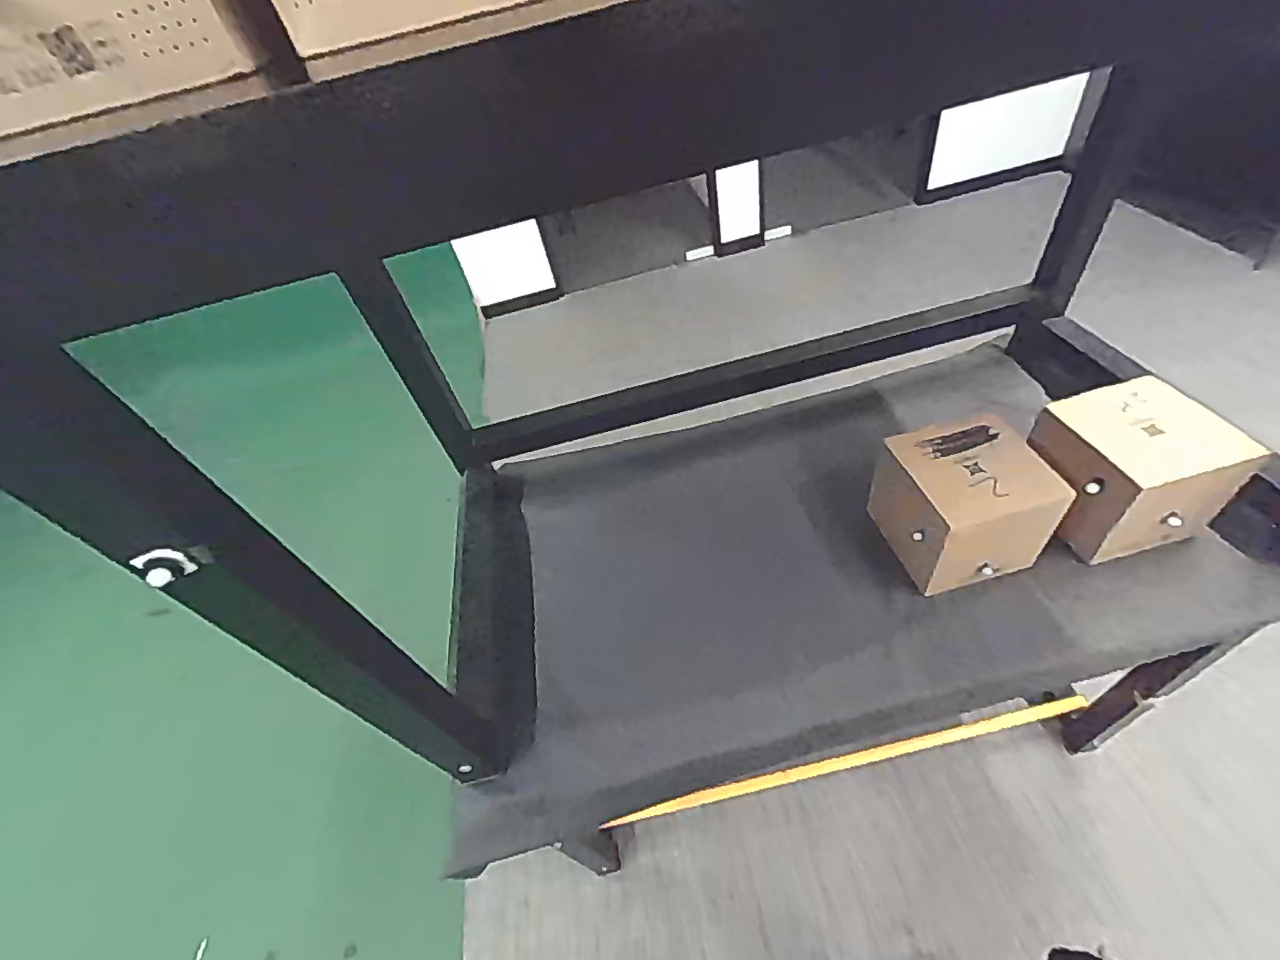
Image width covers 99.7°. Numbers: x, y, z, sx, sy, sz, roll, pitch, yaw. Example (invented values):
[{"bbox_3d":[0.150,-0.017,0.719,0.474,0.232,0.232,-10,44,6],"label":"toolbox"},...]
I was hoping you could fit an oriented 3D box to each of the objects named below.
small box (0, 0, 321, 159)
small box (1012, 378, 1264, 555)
[{"bbox_3d":[-0.273,-0.261,0.236,0.168,0.176,0.179,-15,47,-1],"label":"small box"},{"bbox_3d":[0.687,-0.012,0.776,0.168,0.176,0.179,-16,45,-1],"label":"small box"}]
